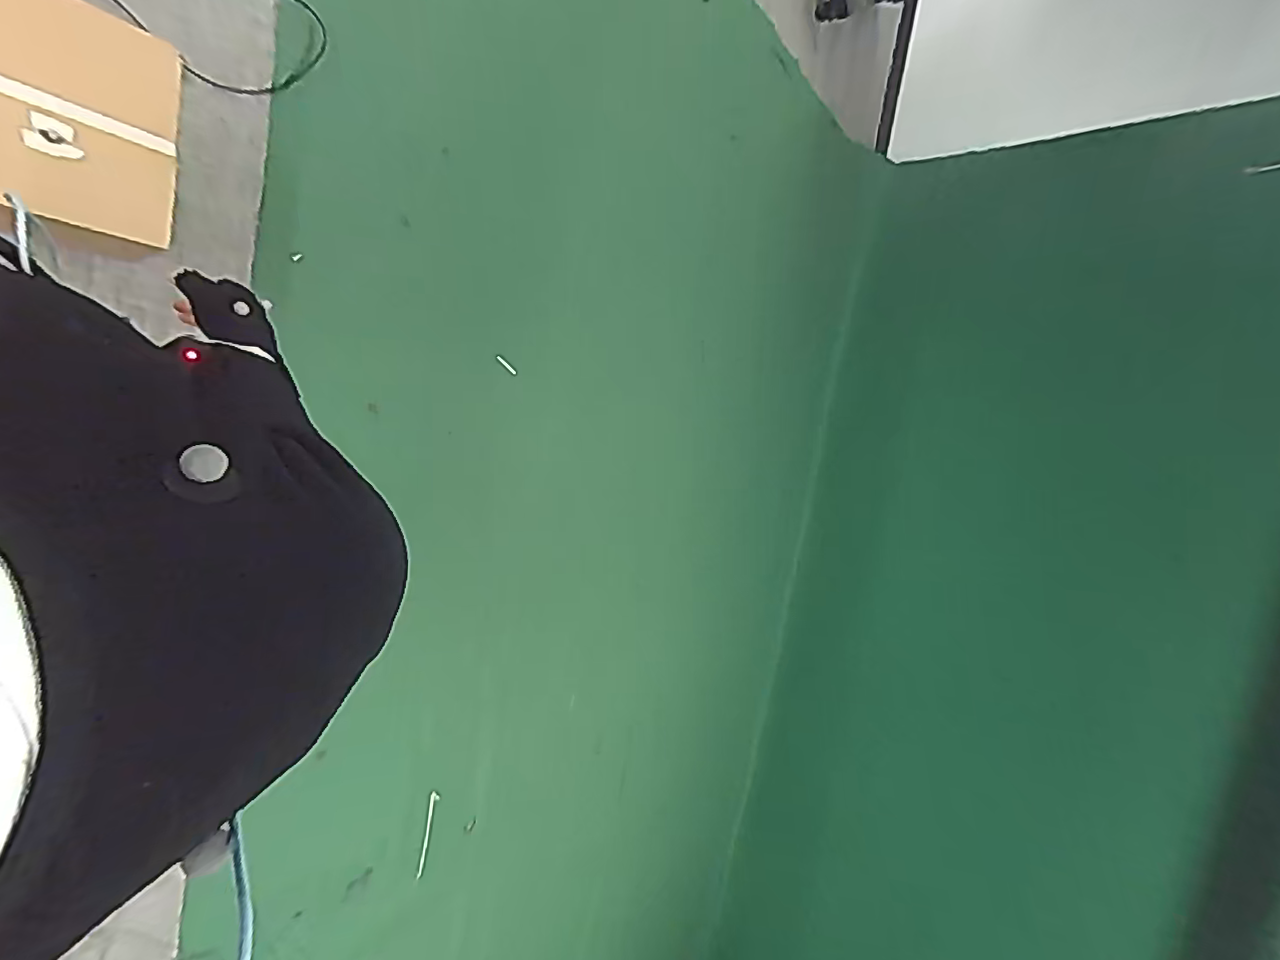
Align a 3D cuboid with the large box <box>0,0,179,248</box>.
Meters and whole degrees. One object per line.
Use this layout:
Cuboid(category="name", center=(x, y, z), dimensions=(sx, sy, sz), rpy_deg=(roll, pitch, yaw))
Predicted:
Cuboid(category="large box", center=(-0.991, -0.579, 0.807), dimensions=(0.408, 0.320, 0.320), rpy_deg=(2, 100, -51))
